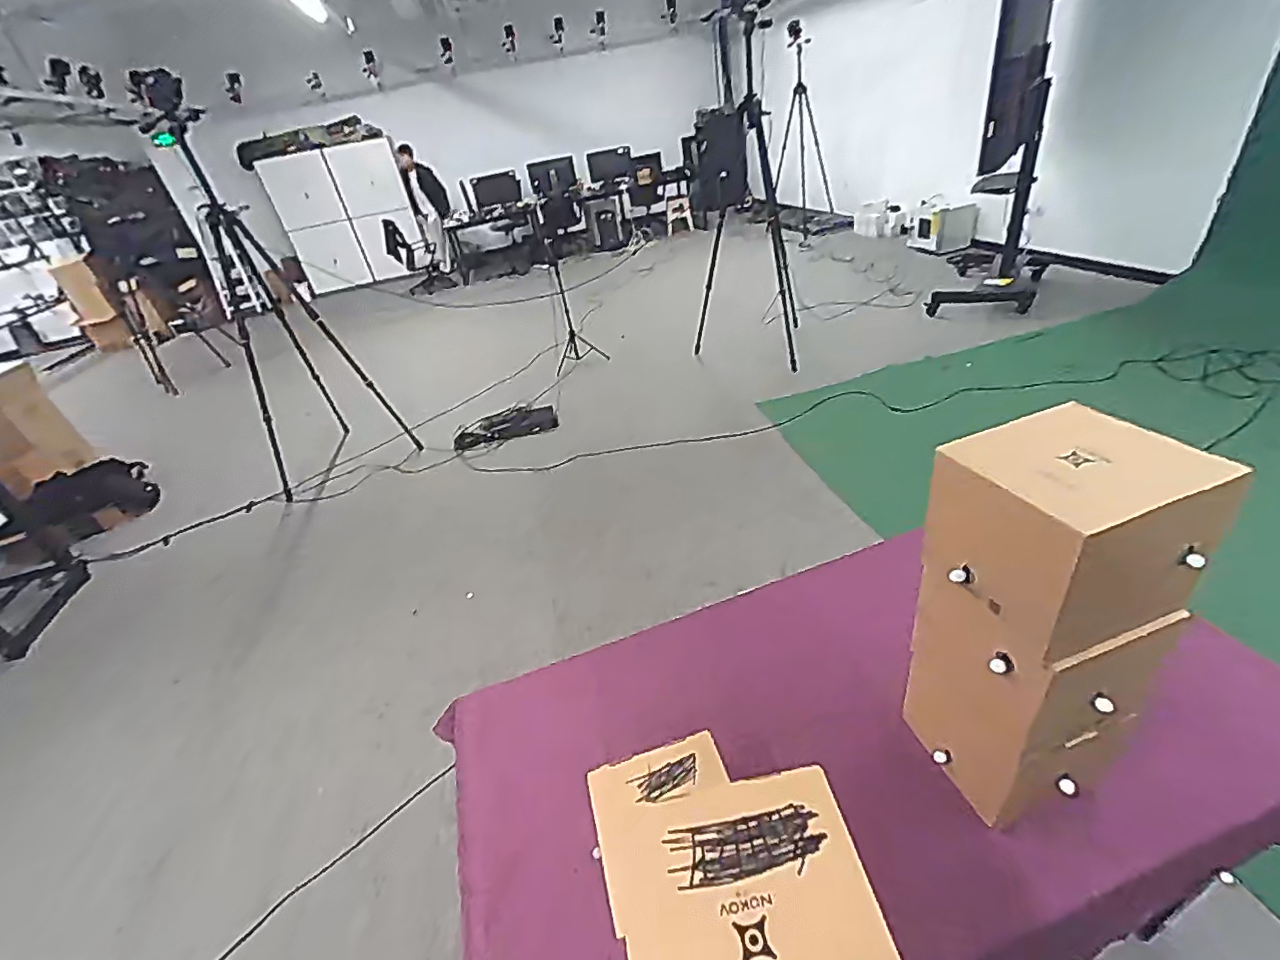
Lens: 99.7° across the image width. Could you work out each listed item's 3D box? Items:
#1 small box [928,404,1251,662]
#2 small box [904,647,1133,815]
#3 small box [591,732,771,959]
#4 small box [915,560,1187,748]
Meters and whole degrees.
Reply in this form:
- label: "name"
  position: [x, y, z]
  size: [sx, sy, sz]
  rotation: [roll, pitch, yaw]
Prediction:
- label: "small box"
  position: [0.425, 0.049, 0.550]
  size: [0.179, 0.176, 0.168]
  rotation: [-18, 33, -8]
- label: "small box"
  position: [0.488, 0.317, 0.730]
  size: [0.168, 0.176, 0.179]
  rotation: [-17, 35, -8]
- label: "small box"
  position: [0.047, 0.452, 0.660]
  size: [0.168, 0.176, 0.179]
  rotation: [-16, 35, -7]
- label: "small box"
  position: [0.458, 0.183, 0.638]
  size: [0.168, 0.176, 0.179]
  rotation: [-17, 34, -9]
